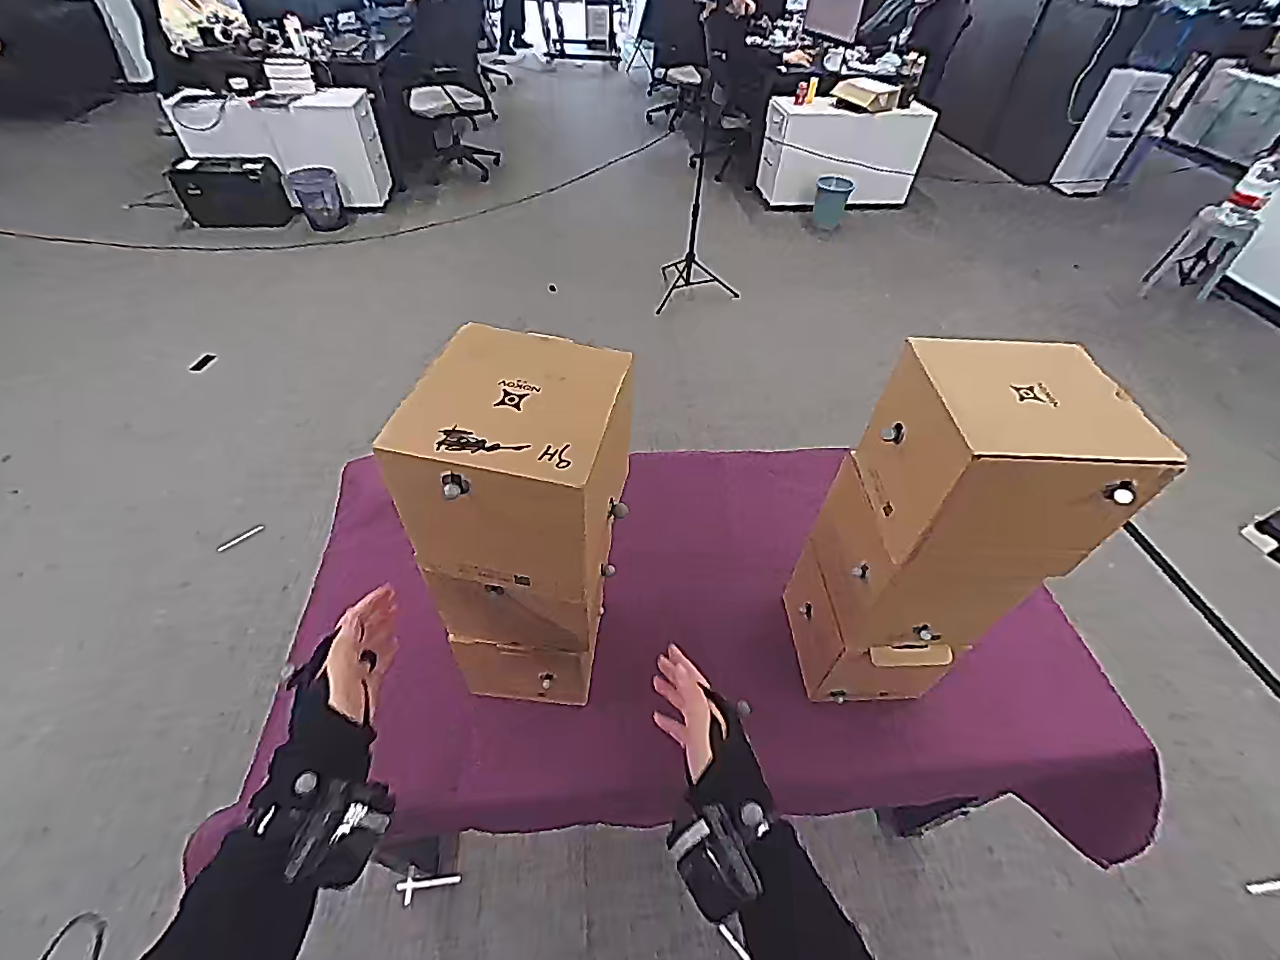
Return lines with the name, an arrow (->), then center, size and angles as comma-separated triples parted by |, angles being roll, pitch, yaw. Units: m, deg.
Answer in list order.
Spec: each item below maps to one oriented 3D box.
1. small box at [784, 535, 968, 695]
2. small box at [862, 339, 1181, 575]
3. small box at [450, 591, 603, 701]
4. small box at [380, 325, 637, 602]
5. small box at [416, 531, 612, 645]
small box -> 0.320, 0.198, 0.778 | 0.168, 0.176, 0.179 | 0, 46, -3
small box -> 0.340, -0.020, 0.535 | 0.179, 0.176, 0.168 | 2, 48, -2
small box -> -0.144, 0.191, 0.761 | 0.168, 0.176, 0.179 | 6, 47, 2
small box -> -0.105, -0.016, 0.508 | 0.168, 0.176, 0.179 | 11, 47, 6
small box -> -0.131, 0.079, 0.642 | 0.179, 0.176, 0.168 | 8, 48, 2
